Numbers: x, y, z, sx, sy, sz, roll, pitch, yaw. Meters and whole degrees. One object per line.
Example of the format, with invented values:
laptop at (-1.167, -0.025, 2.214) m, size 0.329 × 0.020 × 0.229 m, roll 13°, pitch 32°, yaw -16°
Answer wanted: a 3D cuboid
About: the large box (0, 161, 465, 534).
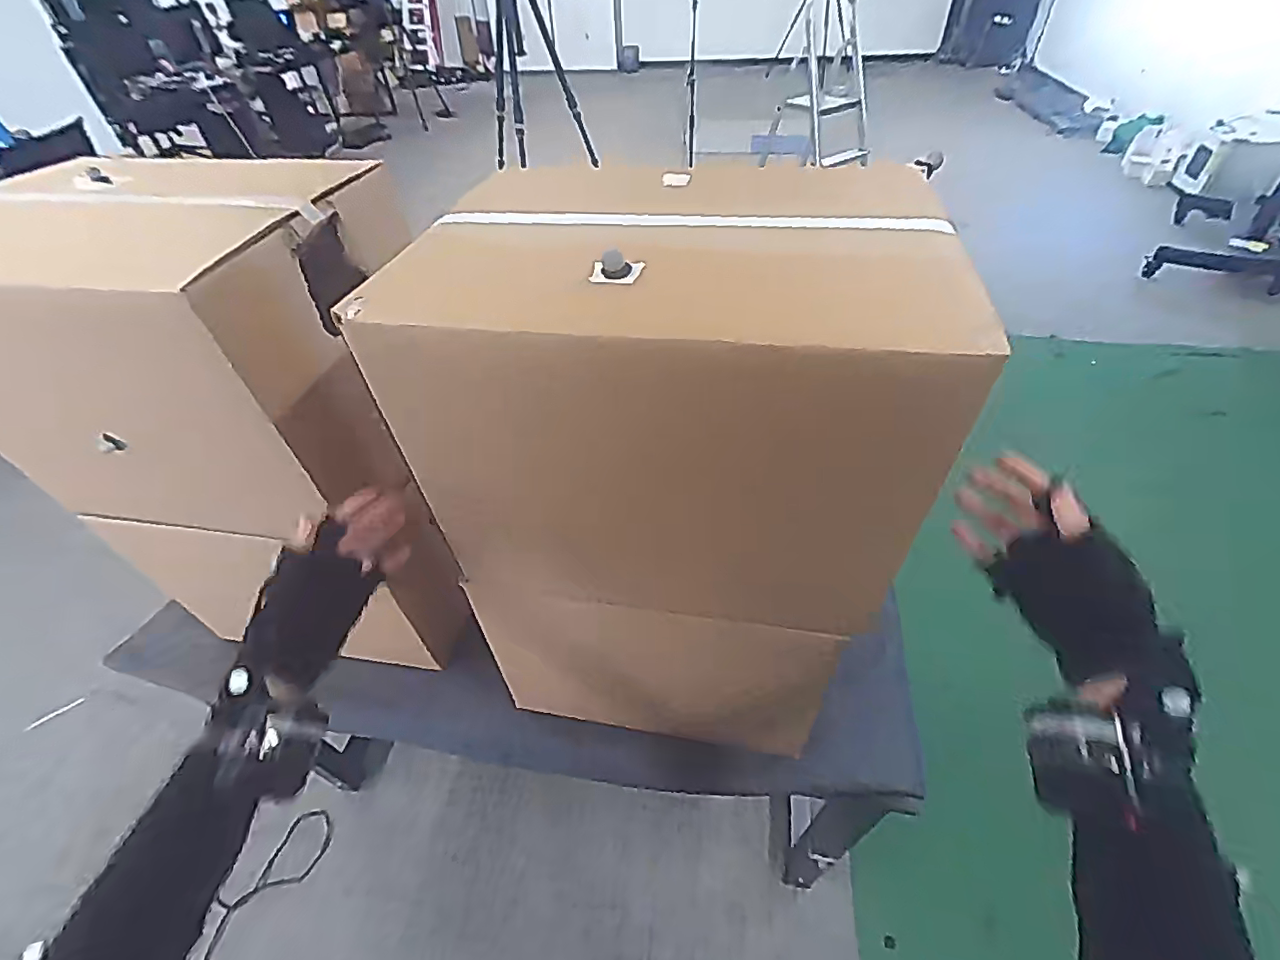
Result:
large box at (-0.486, -0.159, 0.643) m, size 0.408 × 0.320 × 0.320 m, roll 5°, pitch 46°, yaw 9°
